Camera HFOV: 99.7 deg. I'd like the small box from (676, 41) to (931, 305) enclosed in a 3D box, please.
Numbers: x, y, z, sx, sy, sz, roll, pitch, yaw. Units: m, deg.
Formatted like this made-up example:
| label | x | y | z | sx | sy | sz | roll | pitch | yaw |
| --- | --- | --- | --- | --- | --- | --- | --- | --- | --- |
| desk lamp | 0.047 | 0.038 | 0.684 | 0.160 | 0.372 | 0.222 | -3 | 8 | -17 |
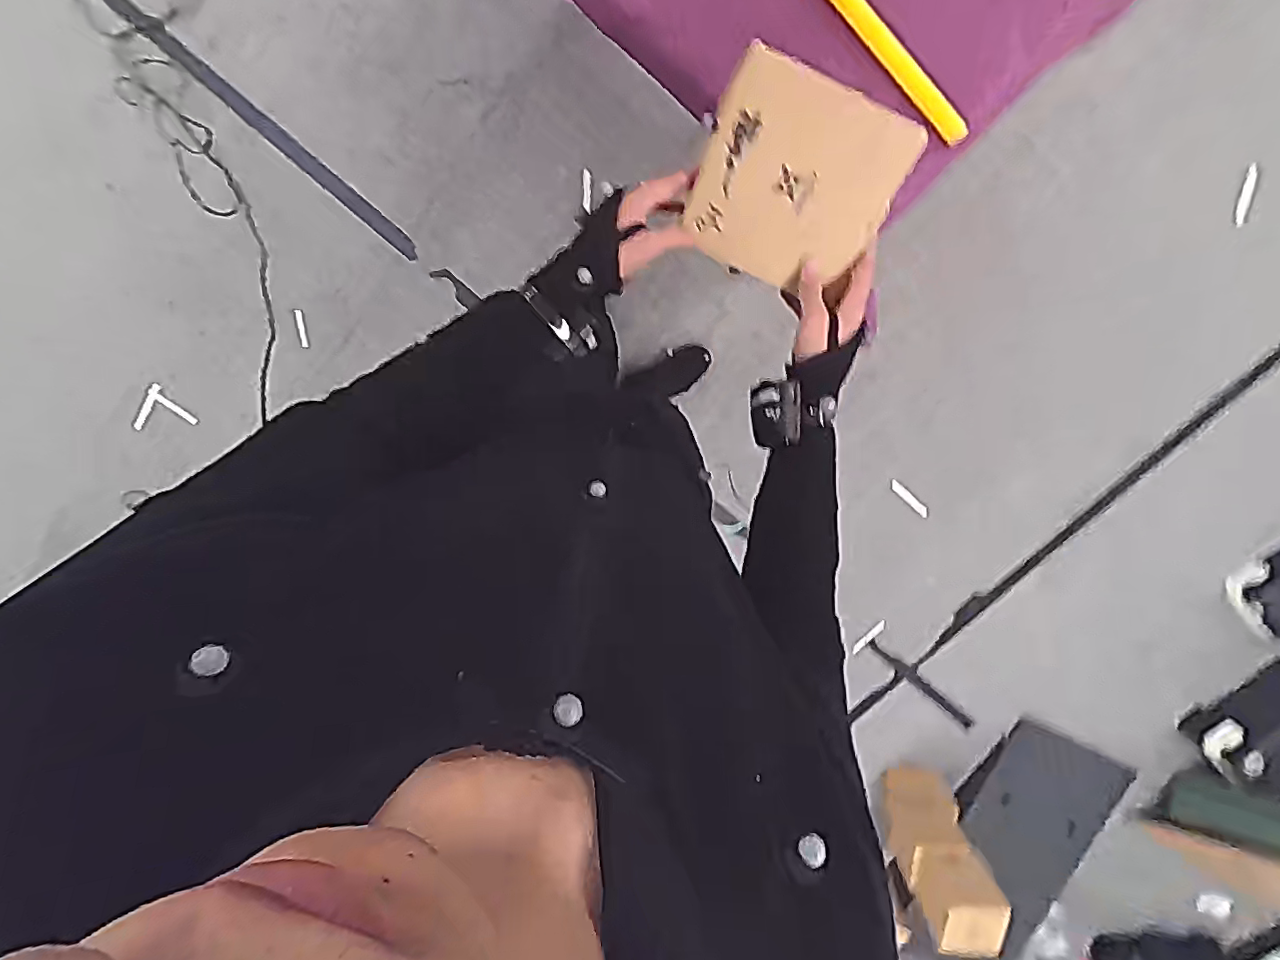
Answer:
| label | x | y | z | sx | sy | sz | roll | pitch | yaw |
| --- | --- | --- | --- | --- | --- | --- | --- | --- | --- |
| small box | 0.149 | -0.310 | 0.563 | 0.179 | 0.176 | 0.168 | 21 | 118 | -9 |
